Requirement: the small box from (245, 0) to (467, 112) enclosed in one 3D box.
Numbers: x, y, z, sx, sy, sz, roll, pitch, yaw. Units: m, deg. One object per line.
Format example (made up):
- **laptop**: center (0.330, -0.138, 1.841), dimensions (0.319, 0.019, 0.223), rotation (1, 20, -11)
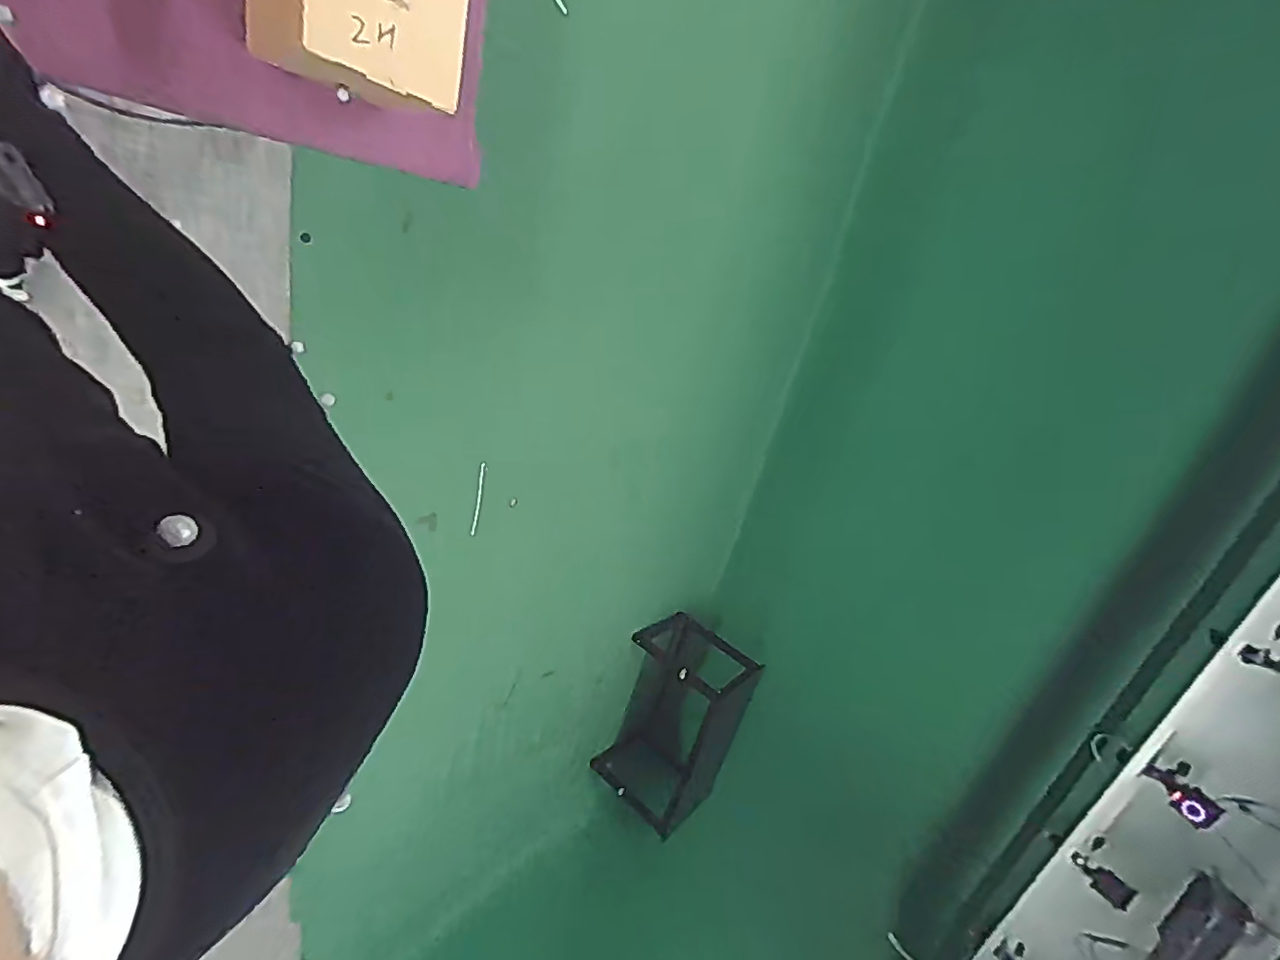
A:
- **small box**: center (-0.307, -0.529, 0.584), dimensions (0.168, 0.176, 0.179), rotation (-10, 121, -49)
